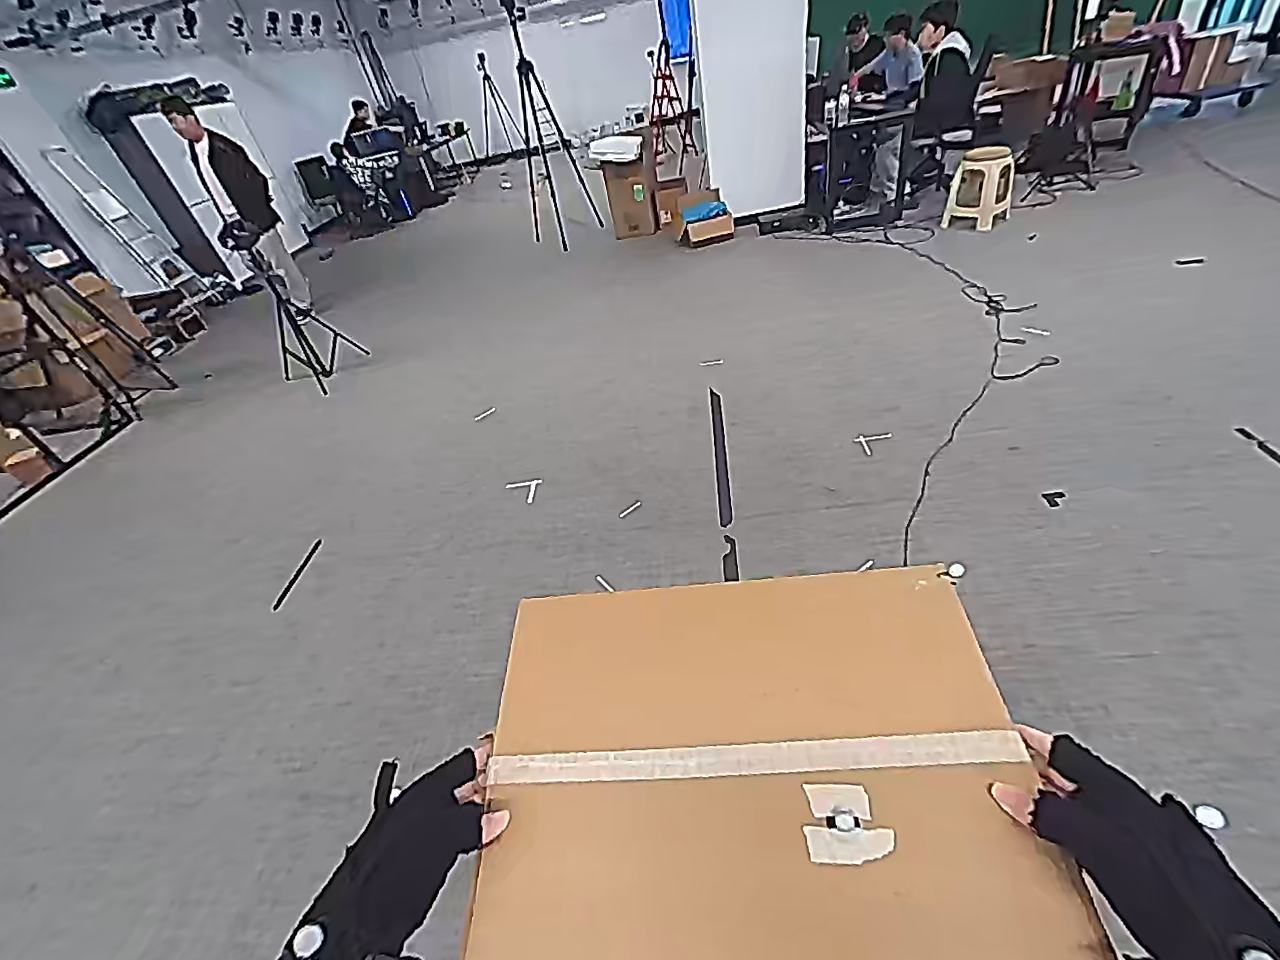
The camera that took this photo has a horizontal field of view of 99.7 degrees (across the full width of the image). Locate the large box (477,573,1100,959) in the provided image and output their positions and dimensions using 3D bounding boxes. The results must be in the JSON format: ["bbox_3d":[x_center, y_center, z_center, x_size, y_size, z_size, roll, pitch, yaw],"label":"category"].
[{"bbox_3d":[0.105,0.322,0.538,0.408,0.320,0.320,-6,48,8],"label":"large box"}]
